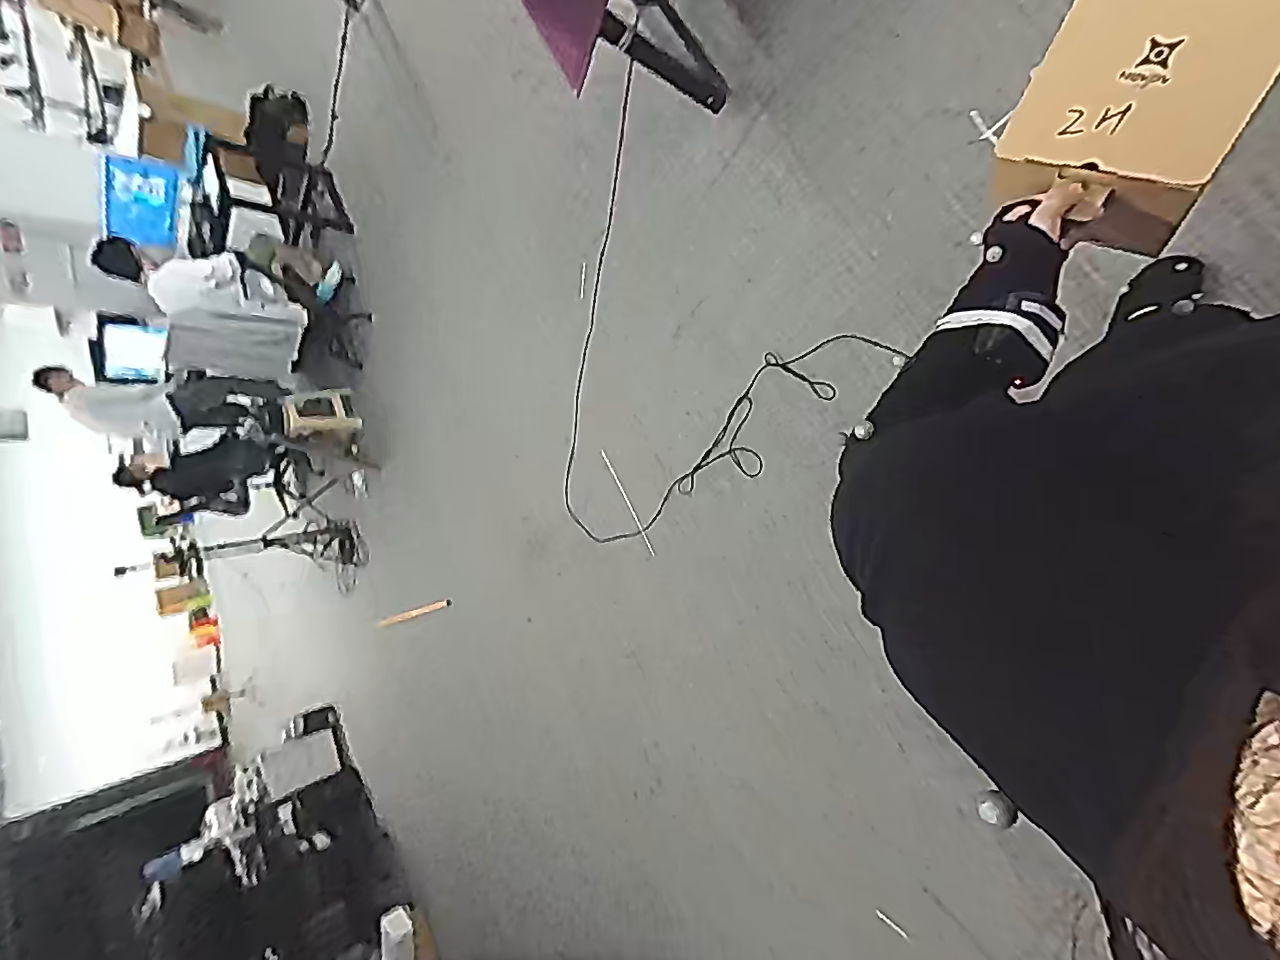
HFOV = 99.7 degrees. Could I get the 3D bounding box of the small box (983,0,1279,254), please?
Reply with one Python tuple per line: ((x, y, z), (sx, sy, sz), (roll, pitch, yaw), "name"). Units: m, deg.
((0.470, -0.354, 0.533), (0.168, 0.176, 0.179), (33, 108, 30), "small box")
